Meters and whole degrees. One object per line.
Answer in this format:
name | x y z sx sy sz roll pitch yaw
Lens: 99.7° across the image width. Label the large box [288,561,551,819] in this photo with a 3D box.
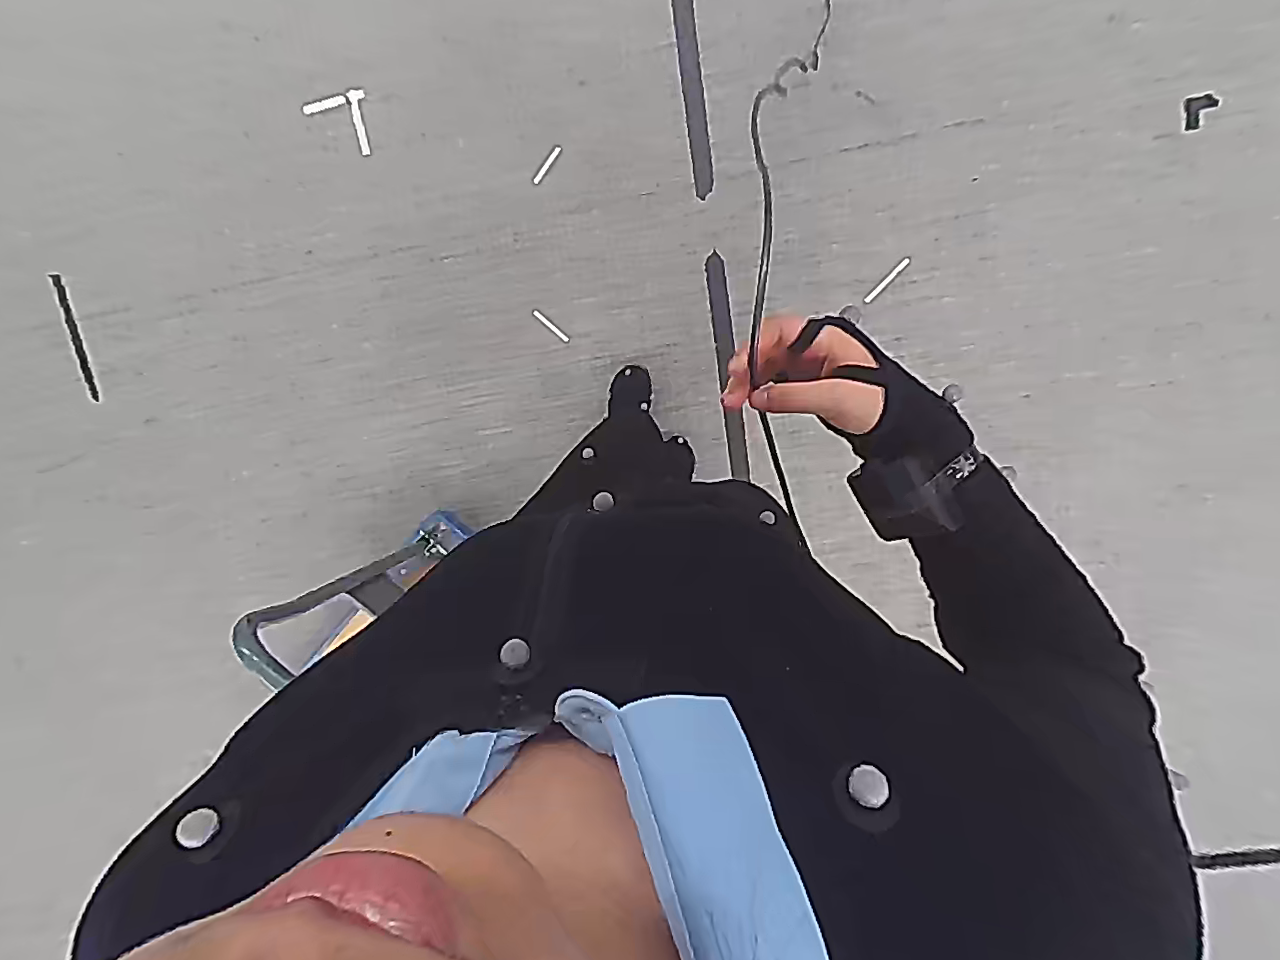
large box | -0.483 0.463 1.265 0.408 0.320 0.320 42 99 -1
